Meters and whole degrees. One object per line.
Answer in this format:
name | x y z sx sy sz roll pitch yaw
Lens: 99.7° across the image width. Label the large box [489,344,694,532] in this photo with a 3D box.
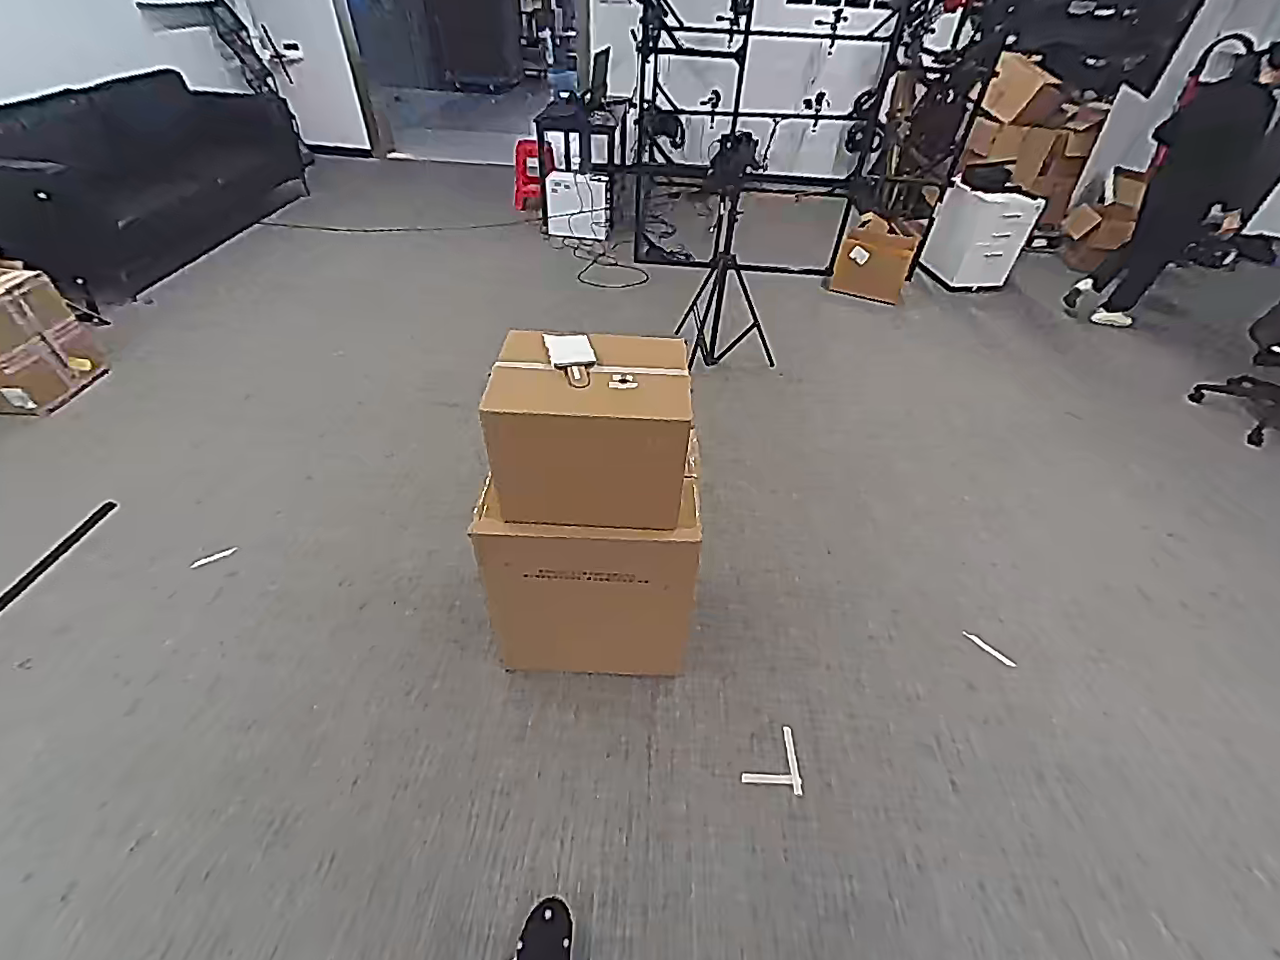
large box | -0.102 -0.096 1.246 0.408 0.320 0.320 3 43 -2
